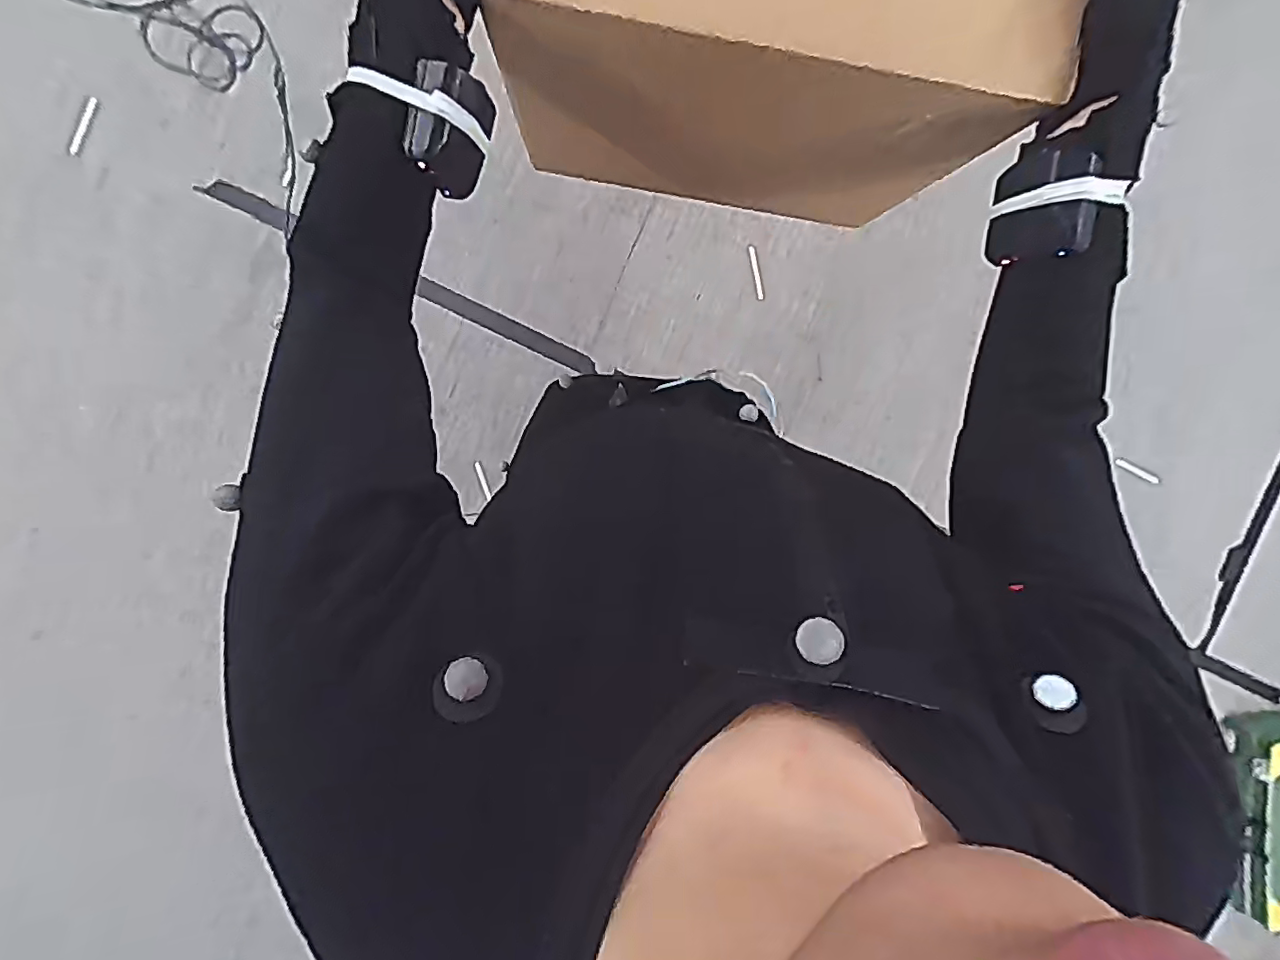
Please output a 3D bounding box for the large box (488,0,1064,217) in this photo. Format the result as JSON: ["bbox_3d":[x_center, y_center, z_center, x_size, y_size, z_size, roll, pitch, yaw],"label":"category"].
[{"bbox_3d":[0.097,-0.468,0.488,0.408,0.320,0.320,7,101,-6],"label":"large box"}]
